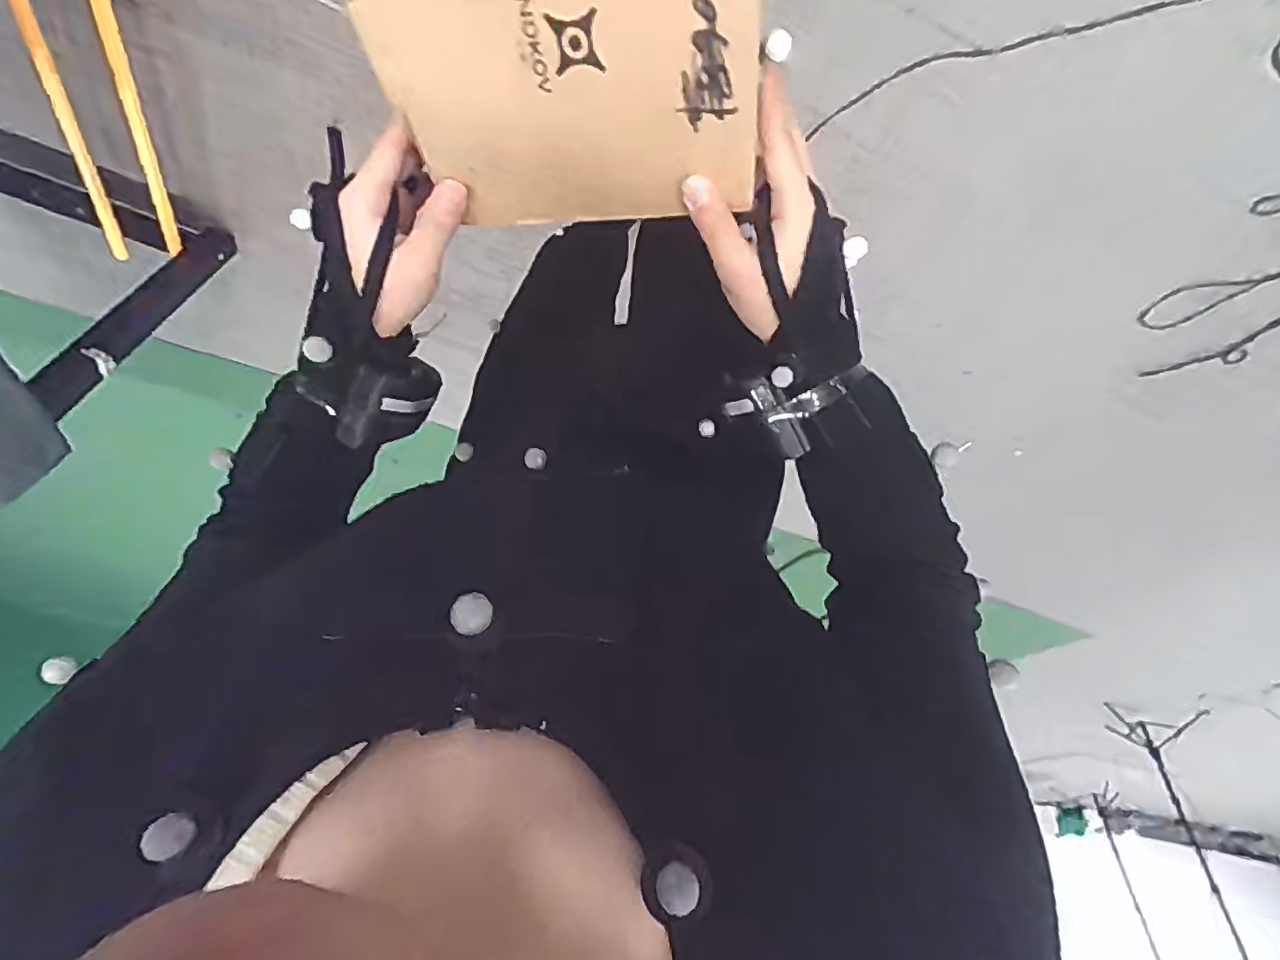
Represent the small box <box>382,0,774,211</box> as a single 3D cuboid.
[{"bbox_3d":[-0.018,-0.267,0.285,0.179,0.176,0.168,4,147,10],"label":"small box"}]
